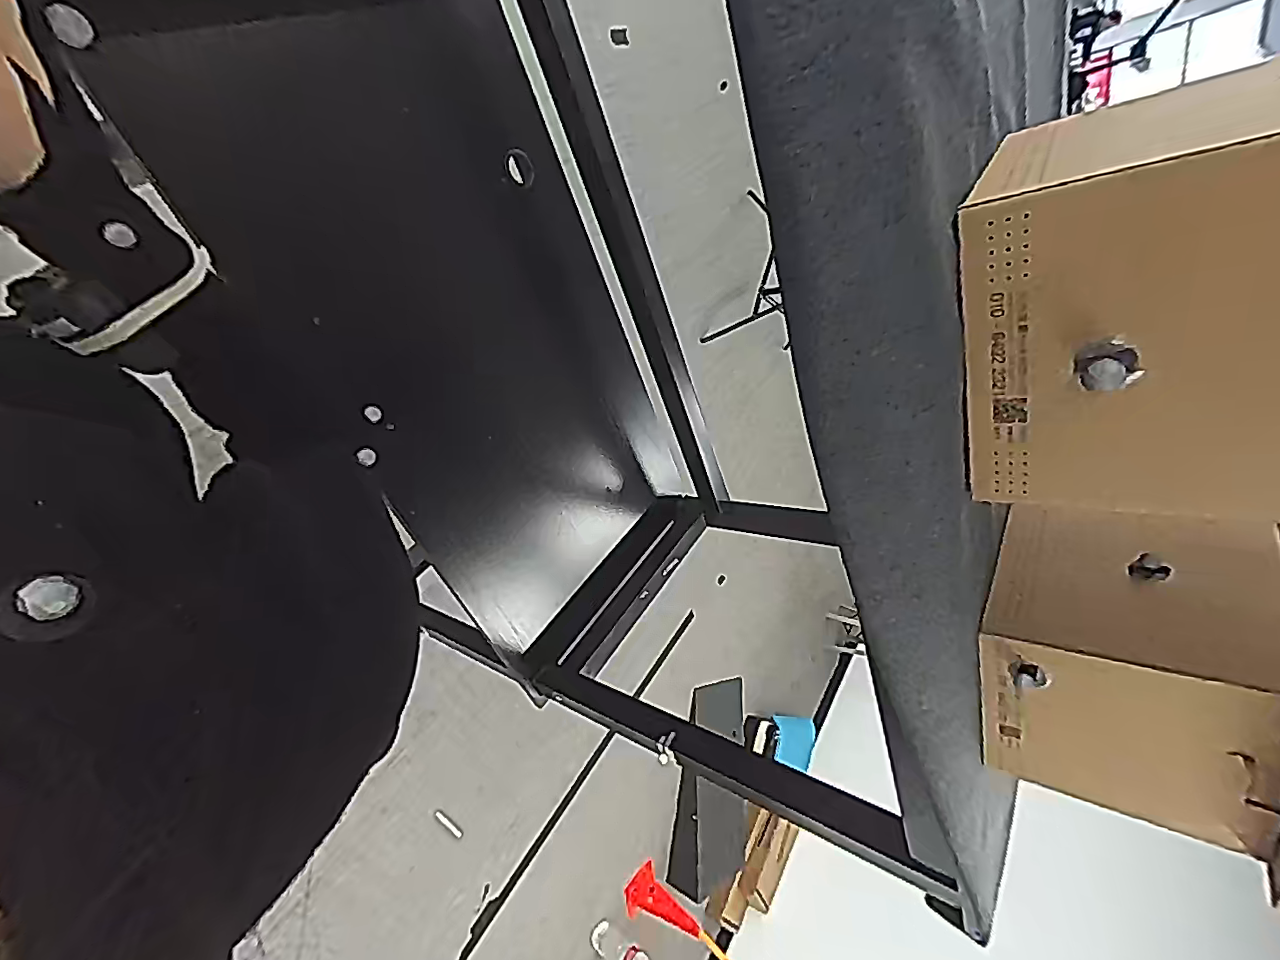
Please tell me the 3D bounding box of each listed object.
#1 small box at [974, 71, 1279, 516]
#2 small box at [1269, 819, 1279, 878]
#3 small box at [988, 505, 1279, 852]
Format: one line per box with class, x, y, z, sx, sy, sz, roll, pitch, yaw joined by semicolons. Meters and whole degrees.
small box;0.285;-0.100;0.283;0.179;0.176;0.168;-48;127;-38
small box;0.495;0.166;0.313;0.179;0.176;0.168;-50;130;-35
small box;0.388;0.136;0.435;0.179;0.176;0.168;-44;126;-40
